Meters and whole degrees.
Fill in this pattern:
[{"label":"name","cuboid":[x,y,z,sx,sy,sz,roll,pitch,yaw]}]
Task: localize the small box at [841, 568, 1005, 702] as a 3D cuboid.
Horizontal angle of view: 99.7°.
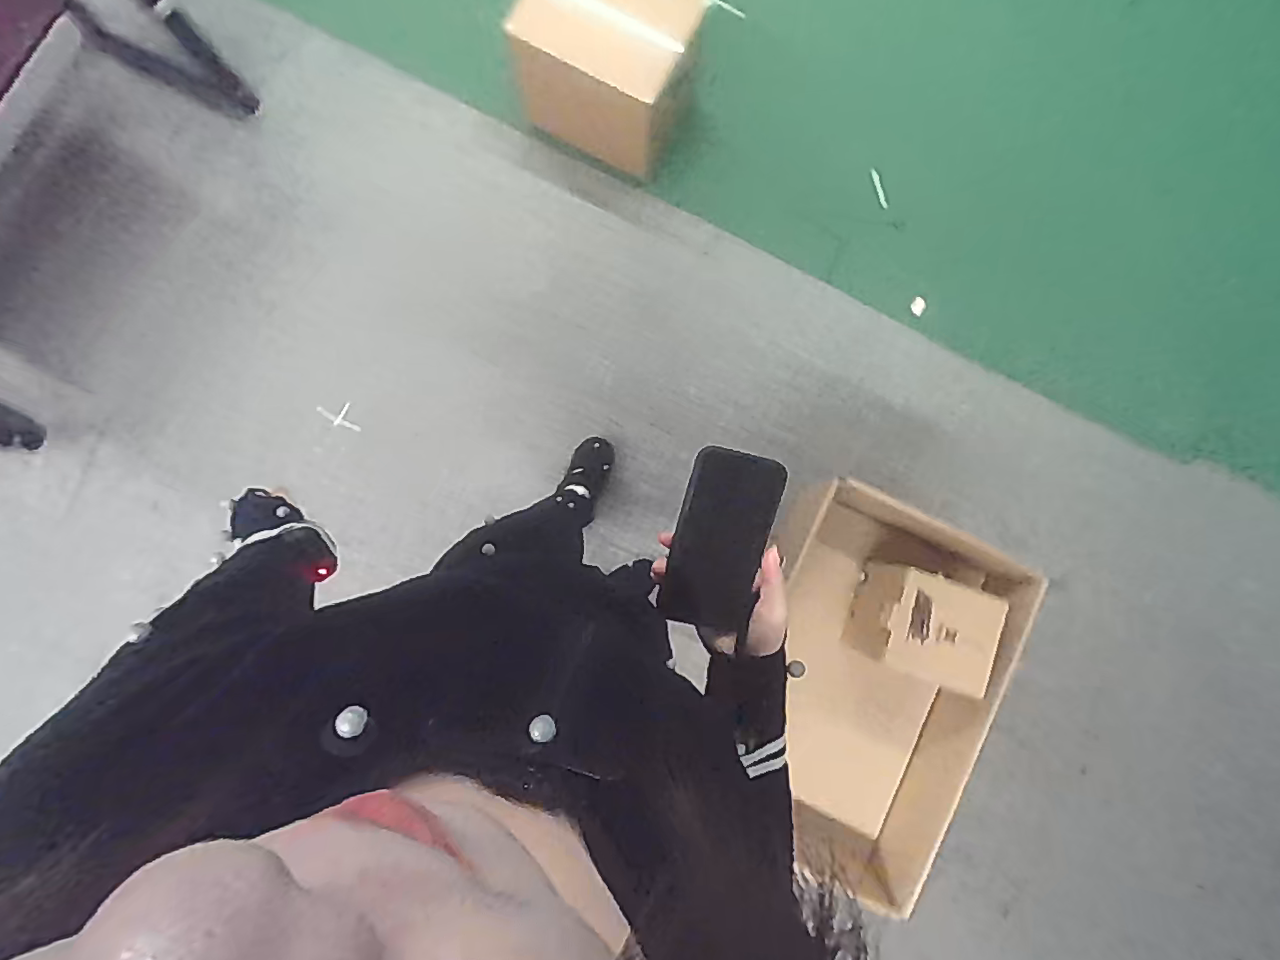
[{"label":"small box","cuboid":[0.483,0.258,0.948,0.179,0.176,0.168,20,85,-1]}]
